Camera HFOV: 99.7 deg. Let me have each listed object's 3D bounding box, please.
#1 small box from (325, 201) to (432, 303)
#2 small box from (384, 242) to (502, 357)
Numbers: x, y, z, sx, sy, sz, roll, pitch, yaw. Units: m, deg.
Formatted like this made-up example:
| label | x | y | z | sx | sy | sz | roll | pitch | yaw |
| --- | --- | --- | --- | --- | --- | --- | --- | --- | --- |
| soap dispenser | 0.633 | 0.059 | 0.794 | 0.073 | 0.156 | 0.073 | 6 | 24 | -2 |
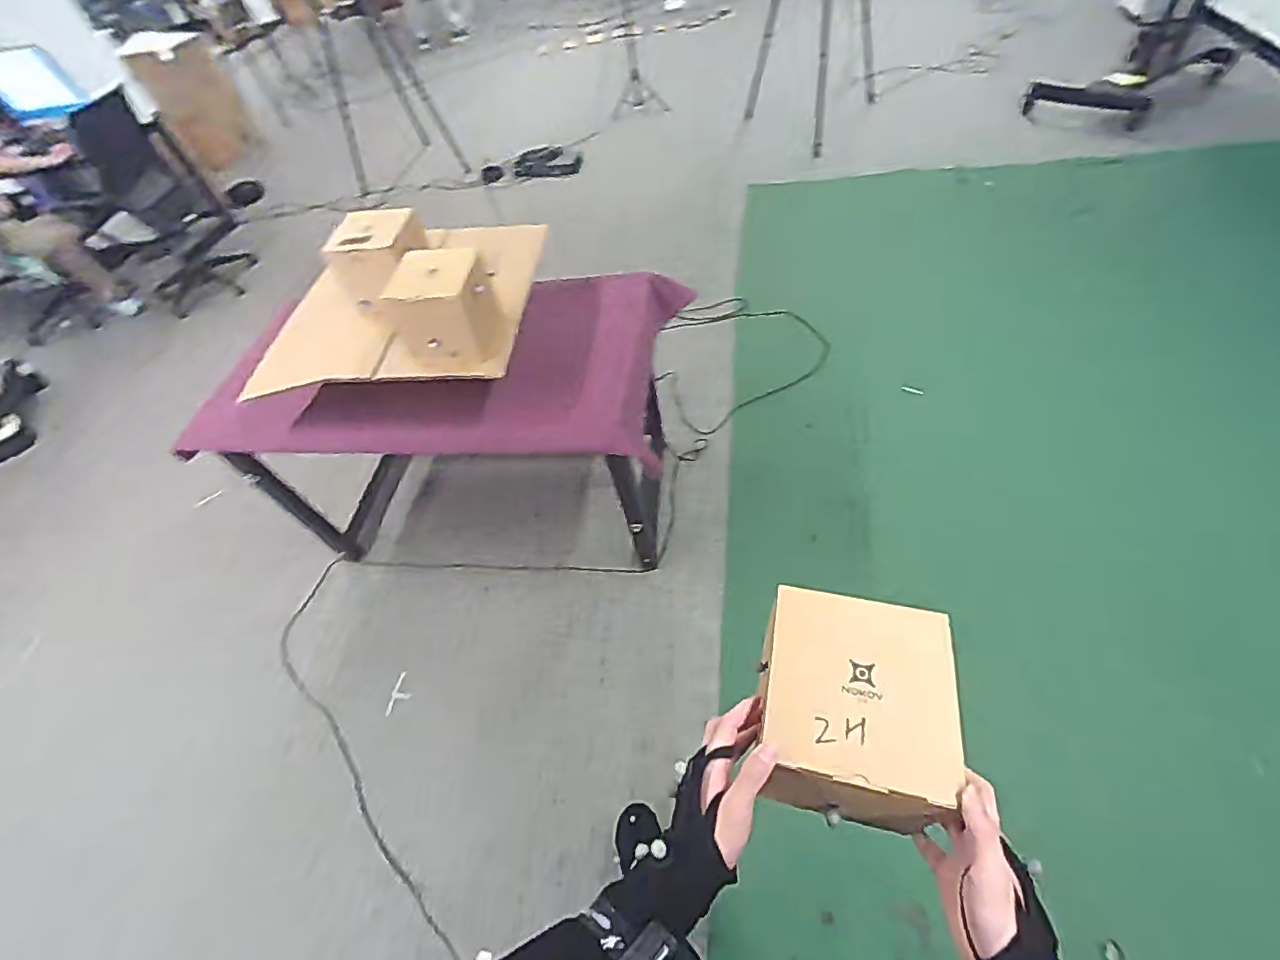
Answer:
| label | x | y | z | sx | sy | sz | roll | pitch | yaw |
| --- | --- | --- | --- | --- | --- | --- | --- | --- | --- |
| small box | -0.604 | -0.540 | 1.299 | 0.168 | 0.176 | 0.179 | 1 | 53 | 7 |
| small box | -0.410 | -0.387 | 1.166 | 0.168 | 0.176 | 0.179 | 1 | 55 | 8 |
